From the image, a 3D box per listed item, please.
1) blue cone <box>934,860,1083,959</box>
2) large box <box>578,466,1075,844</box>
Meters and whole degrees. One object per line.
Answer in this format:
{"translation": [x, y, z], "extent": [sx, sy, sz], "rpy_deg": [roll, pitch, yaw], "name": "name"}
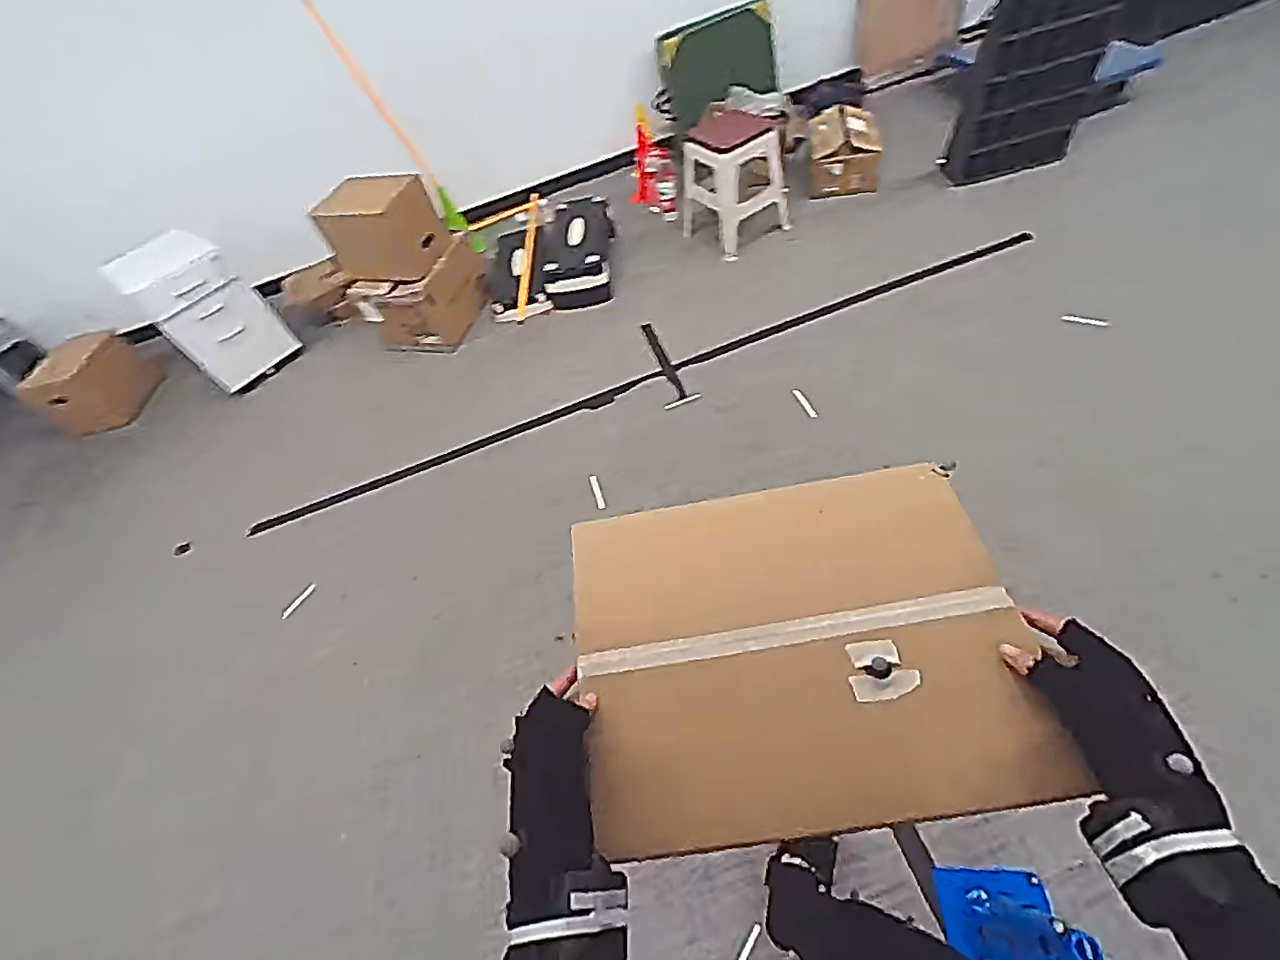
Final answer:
{"translation": [0.658, 0.757, 0.918], "extent": [0.193, 0.380, 0.192], "rpy_deg": [-4, 52, 11], "name": "blue cone"}
{"translation": [0.160, 0.225, 0.648], "extent": [0.408, 0.320, 0.320], "rpy_deg": [-10, 57, 4], "name": "large box"}
